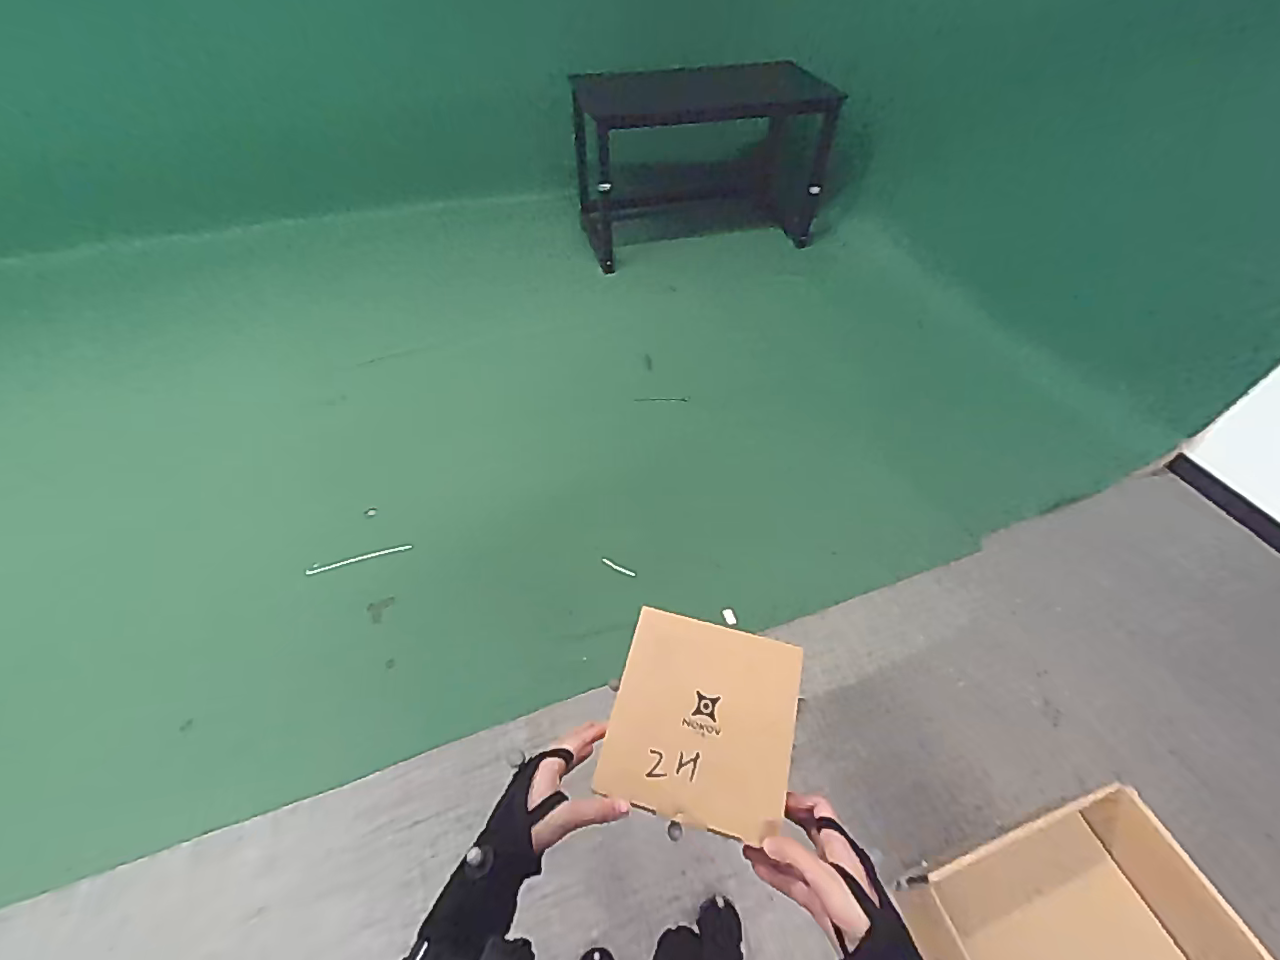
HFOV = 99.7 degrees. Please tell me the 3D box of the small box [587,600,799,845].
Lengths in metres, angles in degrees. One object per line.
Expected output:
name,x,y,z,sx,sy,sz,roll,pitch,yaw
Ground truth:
small box,0.056,0.254,0.565,0.168,0.176,0.179,13,58,11
